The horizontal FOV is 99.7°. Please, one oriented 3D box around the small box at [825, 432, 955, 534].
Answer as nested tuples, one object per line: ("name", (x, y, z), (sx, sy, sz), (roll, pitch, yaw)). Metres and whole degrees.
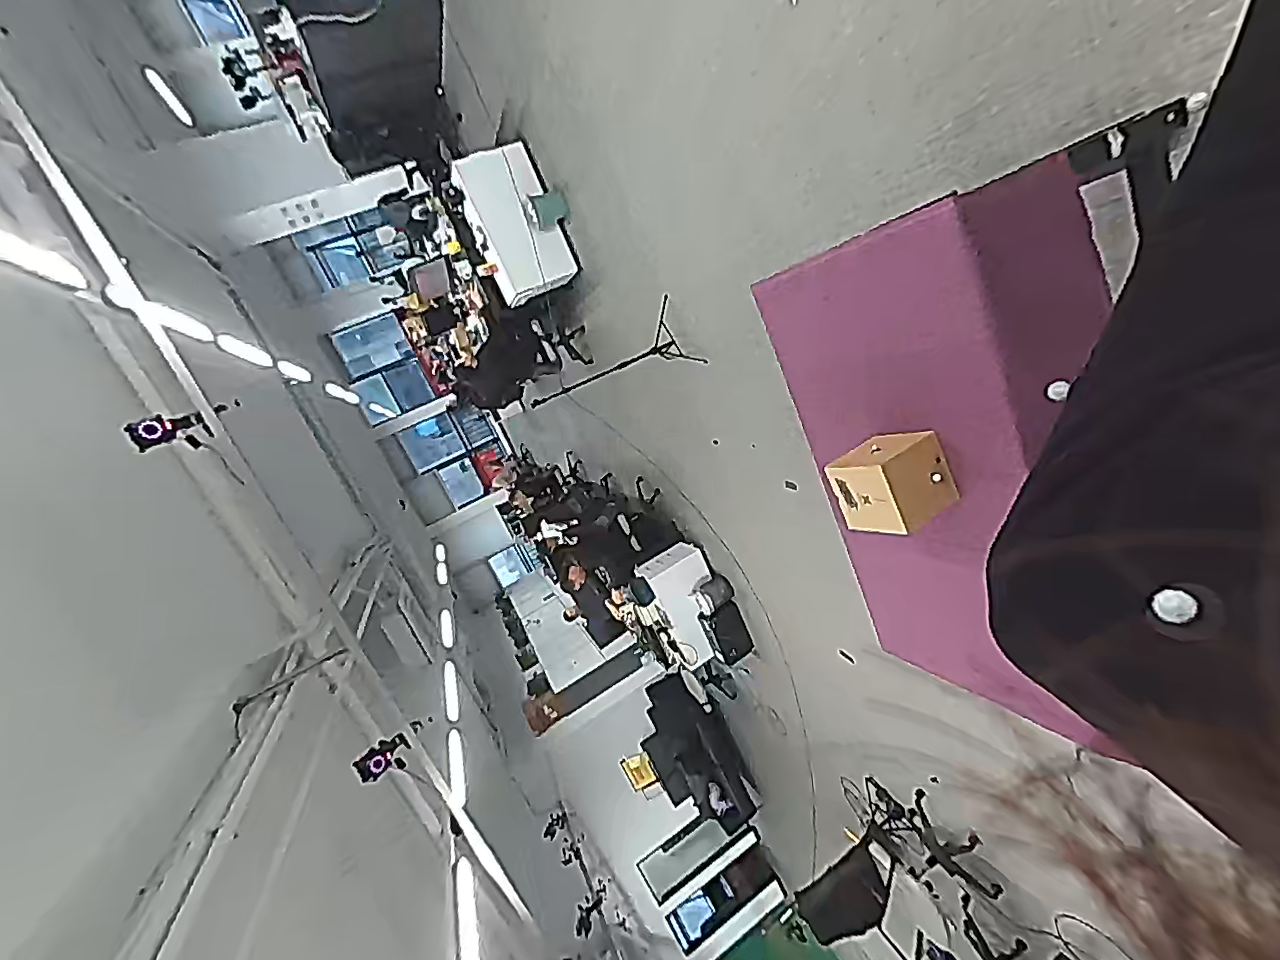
("small box", (0.560, 0.004, 1.216), (0.168, 0.176, 0.179), (64, 162, -9))
